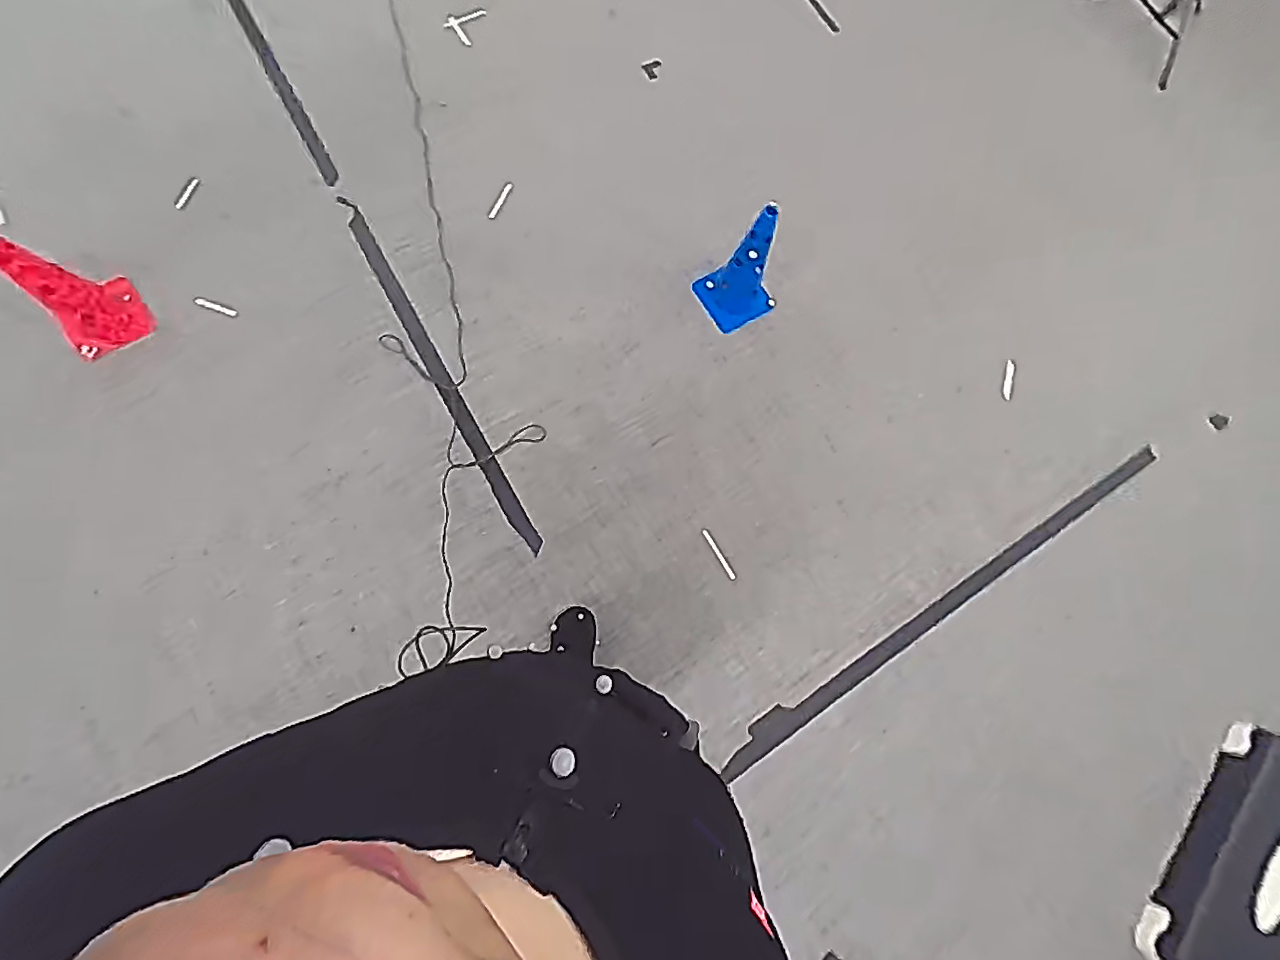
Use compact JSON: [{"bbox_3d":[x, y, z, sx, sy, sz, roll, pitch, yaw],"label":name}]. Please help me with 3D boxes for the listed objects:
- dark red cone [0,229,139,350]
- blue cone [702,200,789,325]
[{"bbox_3d":[-1.428,-0.497,1.261,0.201,0.394,0.202,-37,81,-14],"label":"dark red cone"},{"bbox_3d":[0.315,-0.612,1.480,0.192,0.380,0.193,-28,80,-13],"label":"blue cone"}]
